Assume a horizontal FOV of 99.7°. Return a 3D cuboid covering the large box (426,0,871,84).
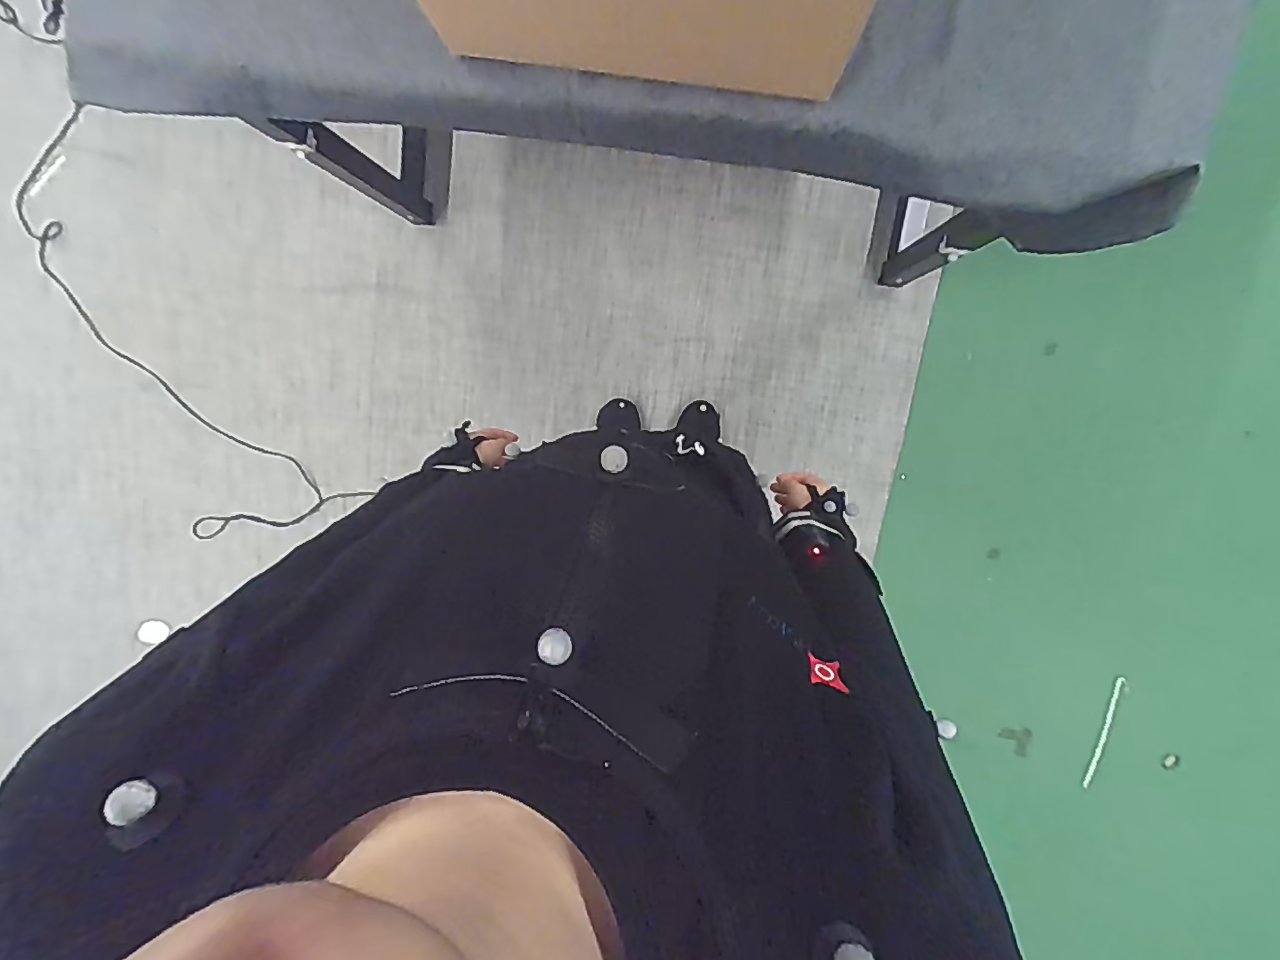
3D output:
[{"bbox_3d":[0.008,-0.556,0.394,0.408,0.320,0.320,8,99,2],"label":"large box"}]
